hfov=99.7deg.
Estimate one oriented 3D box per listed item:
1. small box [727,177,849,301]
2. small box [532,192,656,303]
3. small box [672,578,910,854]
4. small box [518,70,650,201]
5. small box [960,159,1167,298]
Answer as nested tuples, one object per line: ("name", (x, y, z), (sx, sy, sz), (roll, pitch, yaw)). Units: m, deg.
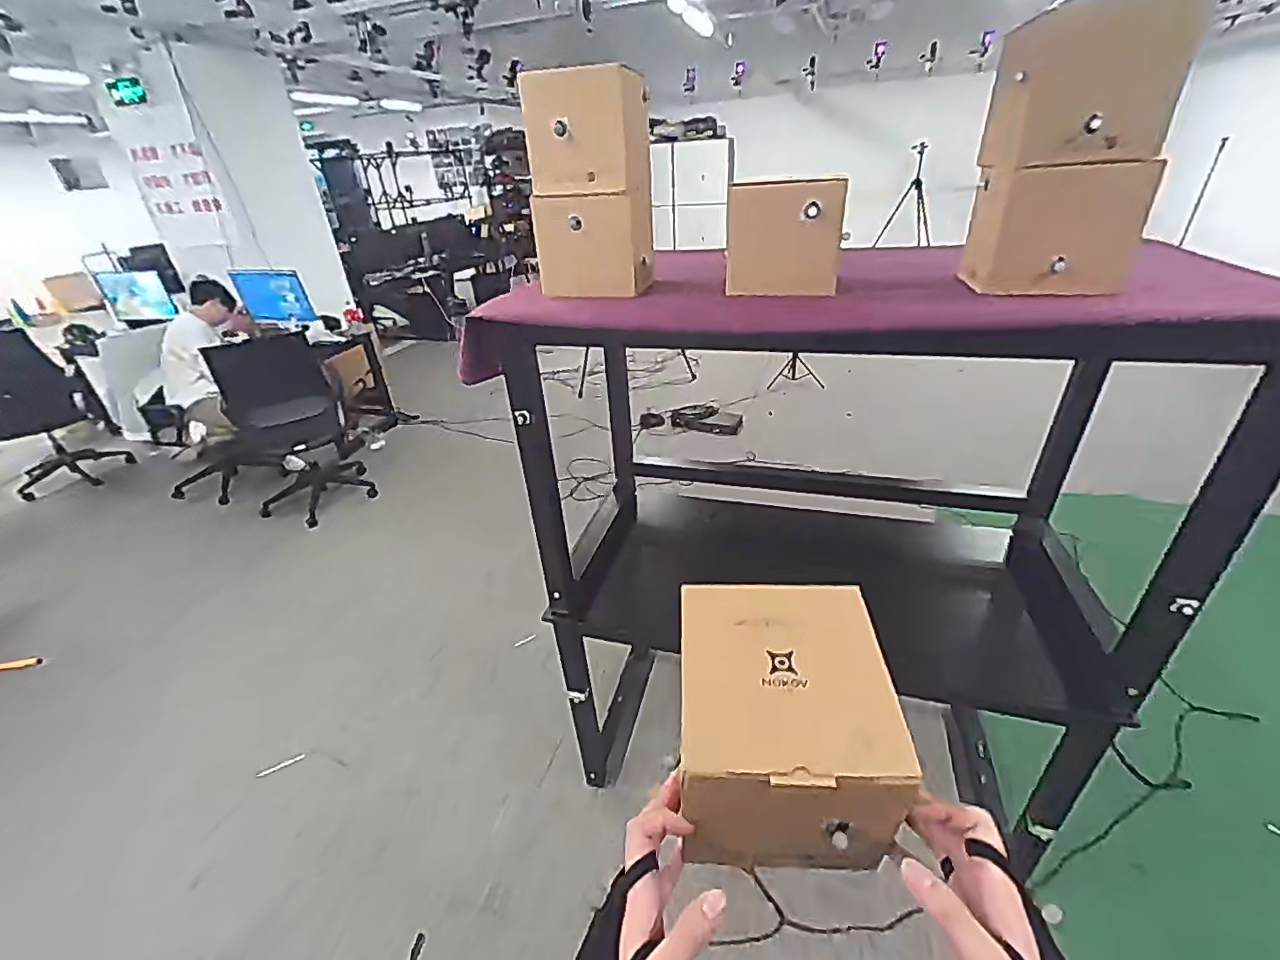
("small box", (0.246, -0.403, 0.906), (0.179, 0.176, 0.168), (5, 31, 17))
("small box", (-0.074, -0.425, 0.989), (0.179, 0.176, 0.168), (4, 32, 13))
("small box", (0.116, 0.209, 0.487), (0.168, 0.176, 0.179), (-1, 38, 5))
("small box", (-0.082, -0.568, 0.914), (0.168, 0.176, 0.179), (3, 30, 14))
("small box", (0.603, -0.372, 0.800), (0.179, 0.176, 0.168), (5, 30, 16))
